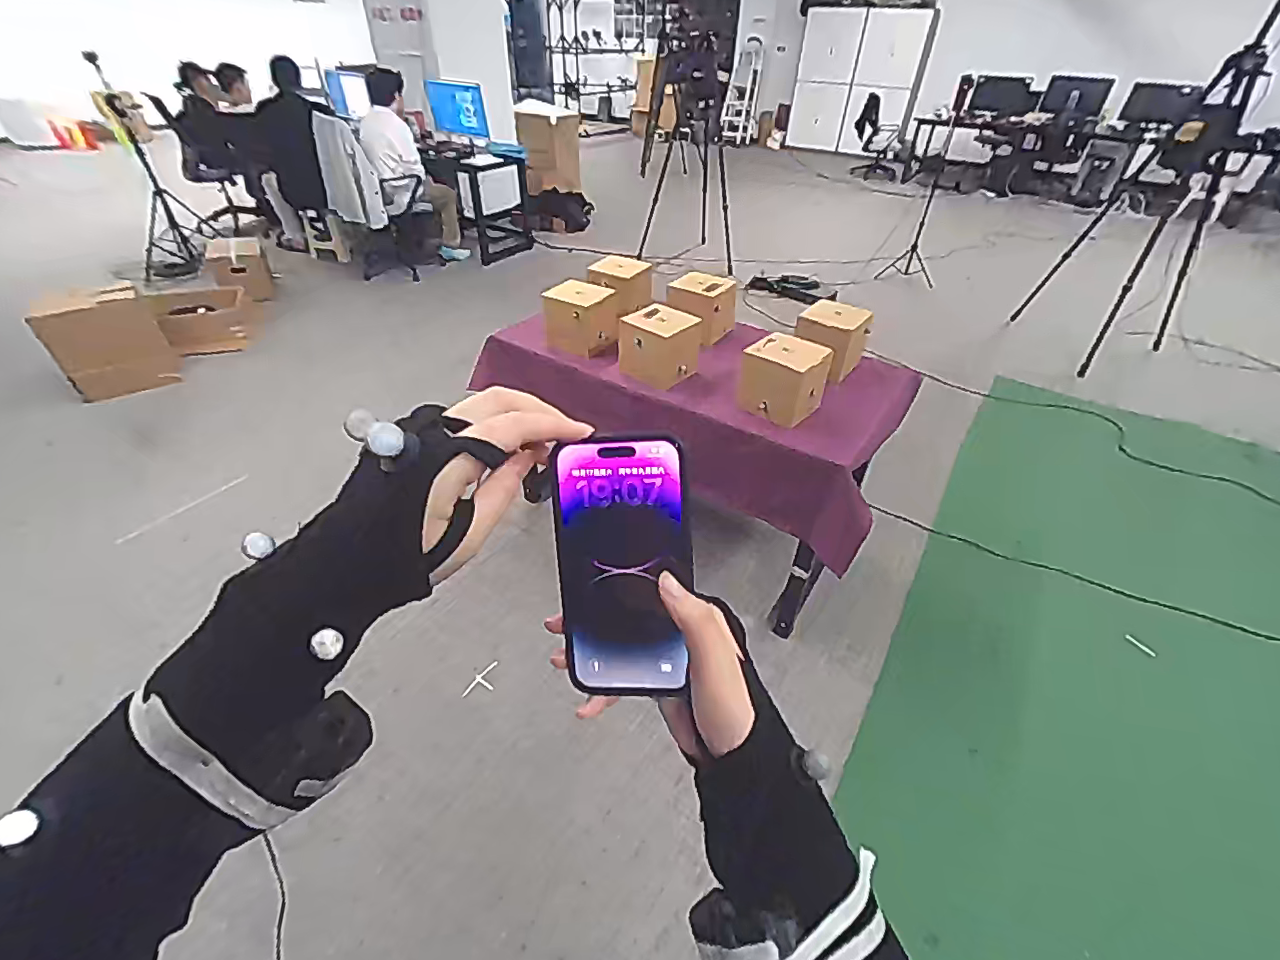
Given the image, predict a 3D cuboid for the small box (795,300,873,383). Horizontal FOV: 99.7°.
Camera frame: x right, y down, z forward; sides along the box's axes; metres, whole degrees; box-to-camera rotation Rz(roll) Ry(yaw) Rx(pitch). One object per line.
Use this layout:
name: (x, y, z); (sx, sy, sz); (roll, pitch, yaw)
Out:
small box: (0.573, -0.420, 1.636); (0.168, 0.176, 0.179); (27, 47, 28)

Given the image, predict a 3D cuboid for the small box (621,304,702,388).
small box: (0.057, -0.390, 1.579); (0.179, 0.176, 0.168); (30, 47, 29)

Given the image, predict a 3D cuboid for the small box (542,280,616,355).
small box: (-0.191, -0.516, 1.722); (0.179, 0.176, 0.168); (22, 43, 20)

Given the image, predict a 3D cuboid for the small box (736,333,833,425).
small box: (0.380, -0.266, 1.443); (0.179, 0.176, 0.168); (31, 47, 30)
